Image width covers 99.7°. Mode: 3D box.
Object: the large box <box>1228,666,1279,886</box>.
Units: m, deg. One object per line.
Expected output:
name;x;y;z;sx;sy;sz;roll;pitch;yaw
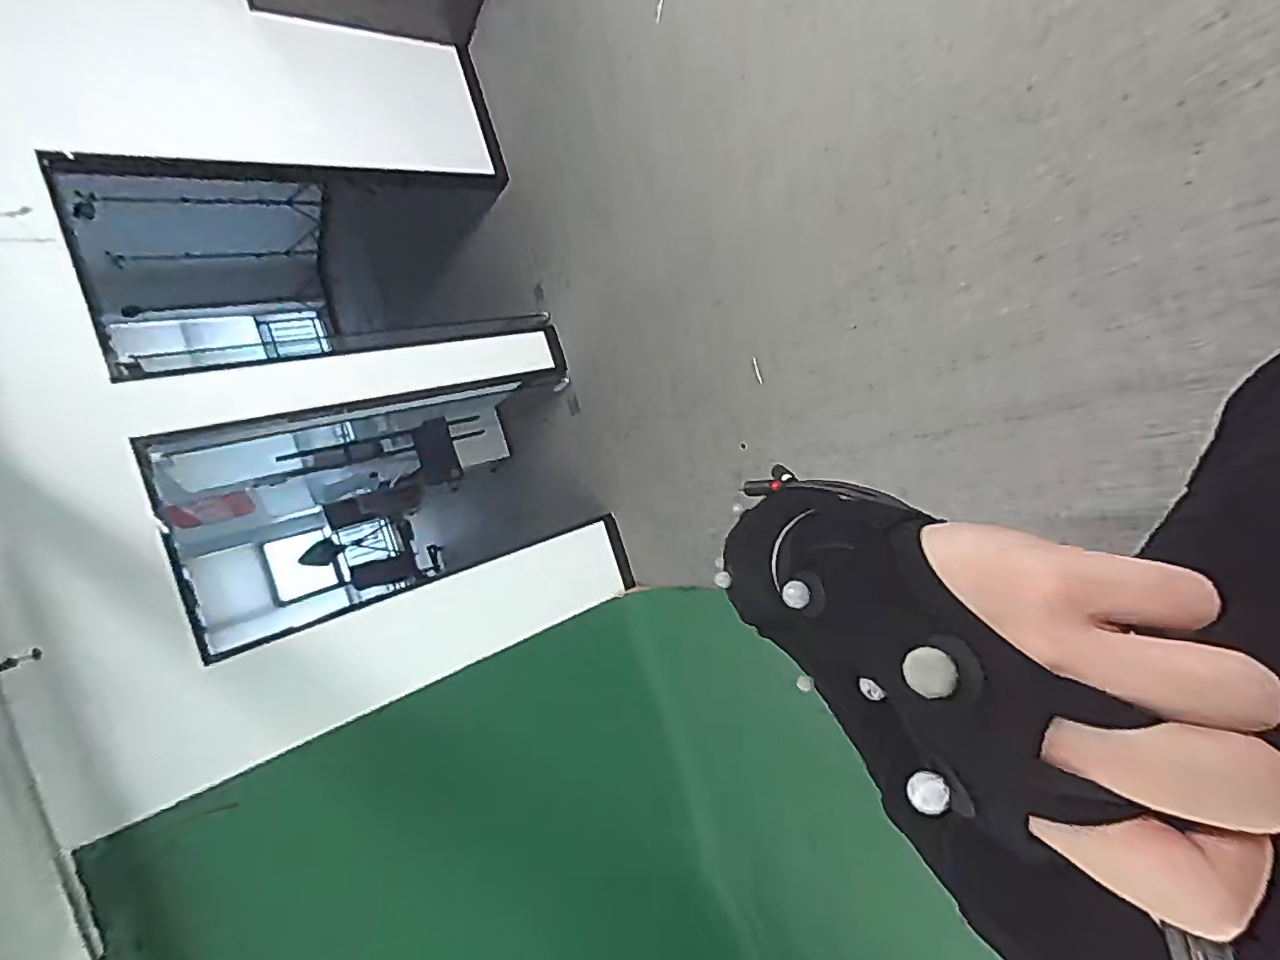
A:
large box;1.255;0.561;0.871;0.320;0.320;0.408;-20;90;56
